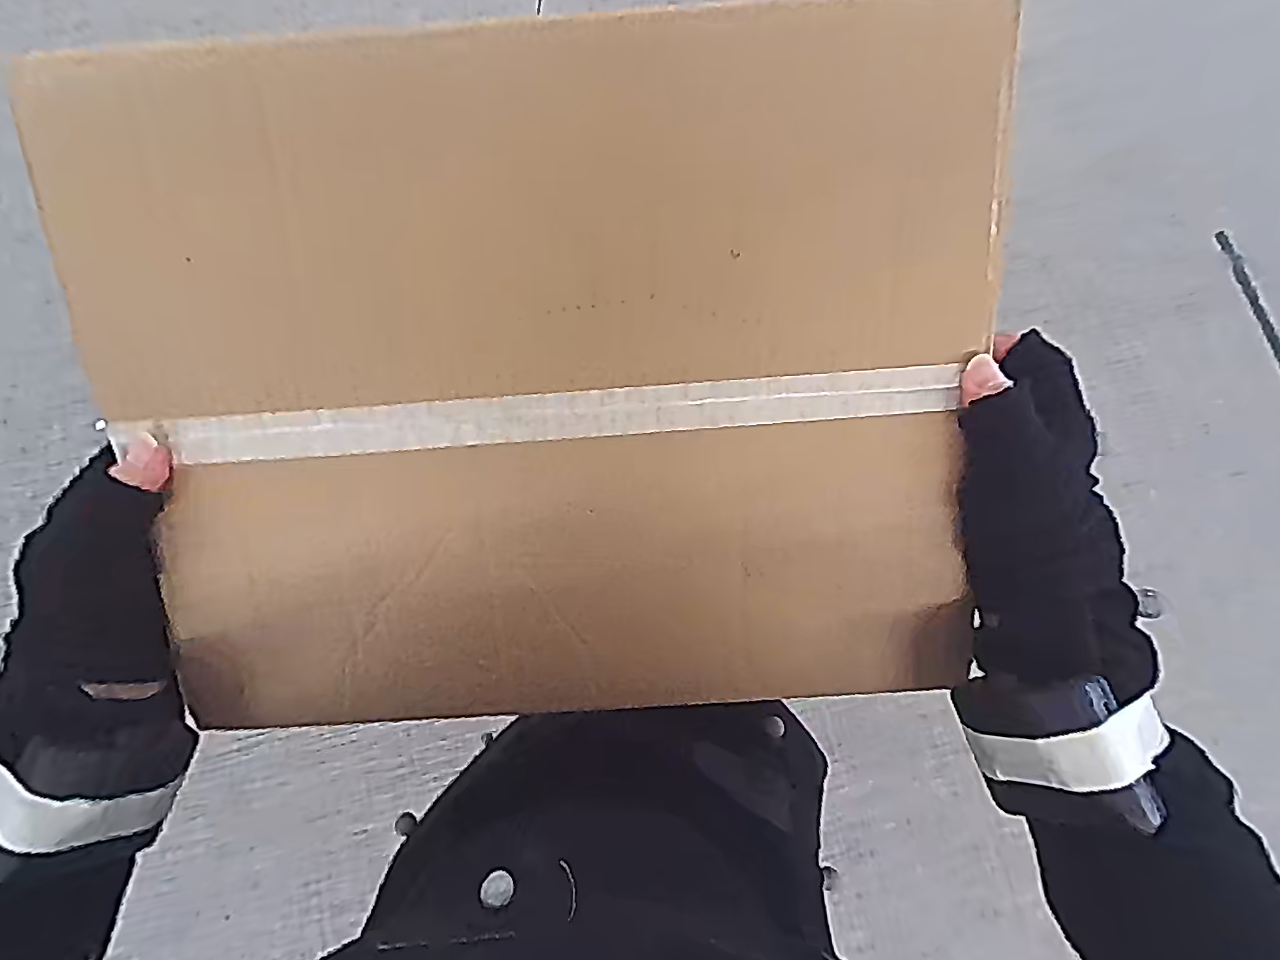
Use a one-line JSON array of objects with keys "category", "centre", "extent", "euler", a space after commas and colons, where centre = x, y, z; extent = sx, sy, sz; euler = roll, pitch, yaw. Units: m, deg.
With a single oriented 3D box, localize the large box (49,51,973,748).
[{"category": "large box", "centre": [-0.044, -0.050, 0.408], "extent": [0.408, 0.320, 0.320], "euler": [-4, 103, 1]}]
